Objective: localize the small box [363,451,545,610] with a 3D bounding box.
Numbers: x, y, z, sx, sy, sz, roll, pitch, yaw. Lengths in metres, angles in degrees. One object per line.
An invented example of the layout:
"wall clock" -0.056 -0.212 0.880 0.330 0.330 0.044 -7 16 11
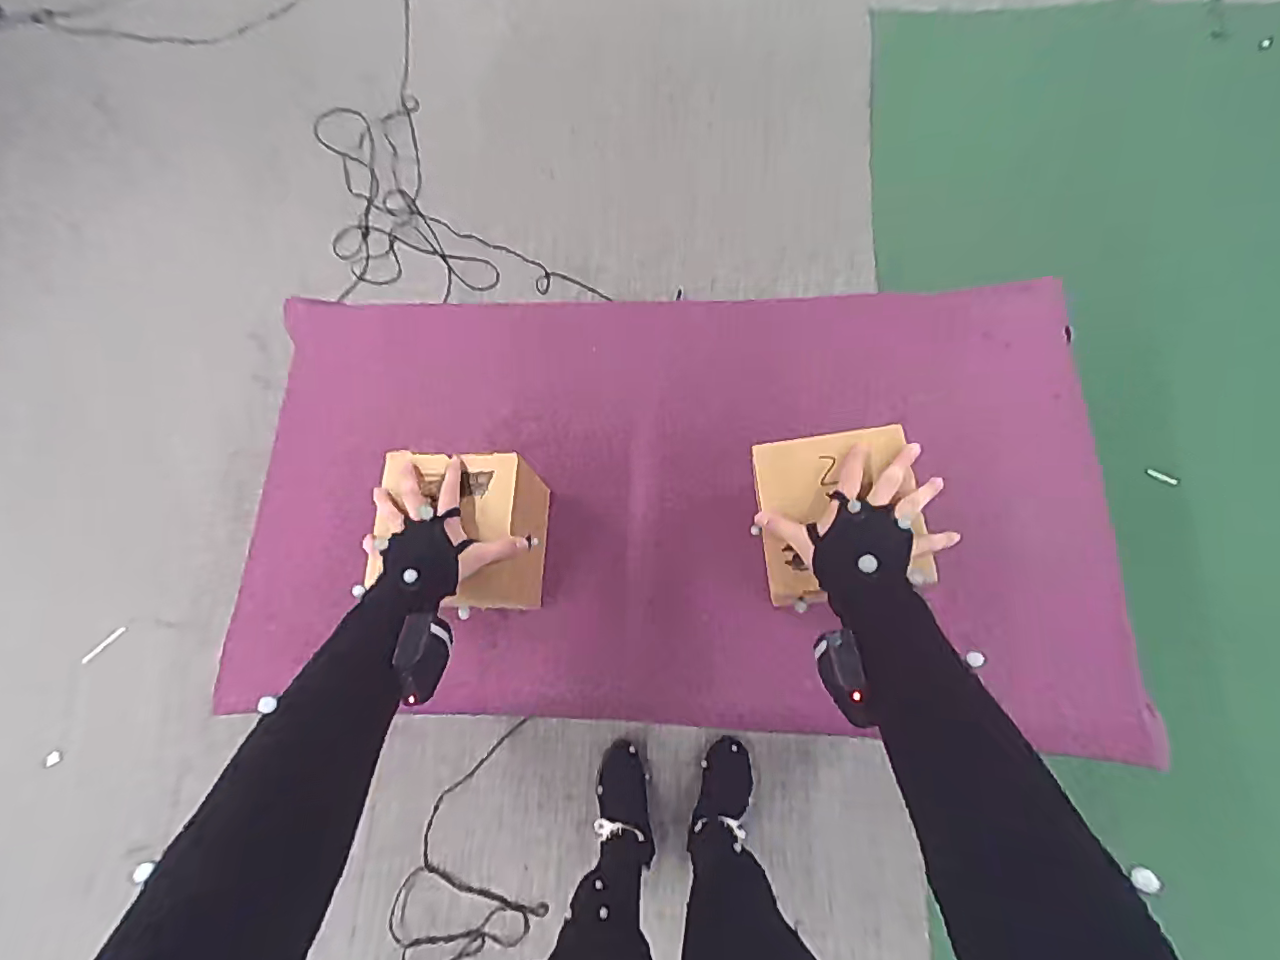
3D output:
"small box" -0.226 0.073 0.709 0.168 0.176 0.179 1 74 4
